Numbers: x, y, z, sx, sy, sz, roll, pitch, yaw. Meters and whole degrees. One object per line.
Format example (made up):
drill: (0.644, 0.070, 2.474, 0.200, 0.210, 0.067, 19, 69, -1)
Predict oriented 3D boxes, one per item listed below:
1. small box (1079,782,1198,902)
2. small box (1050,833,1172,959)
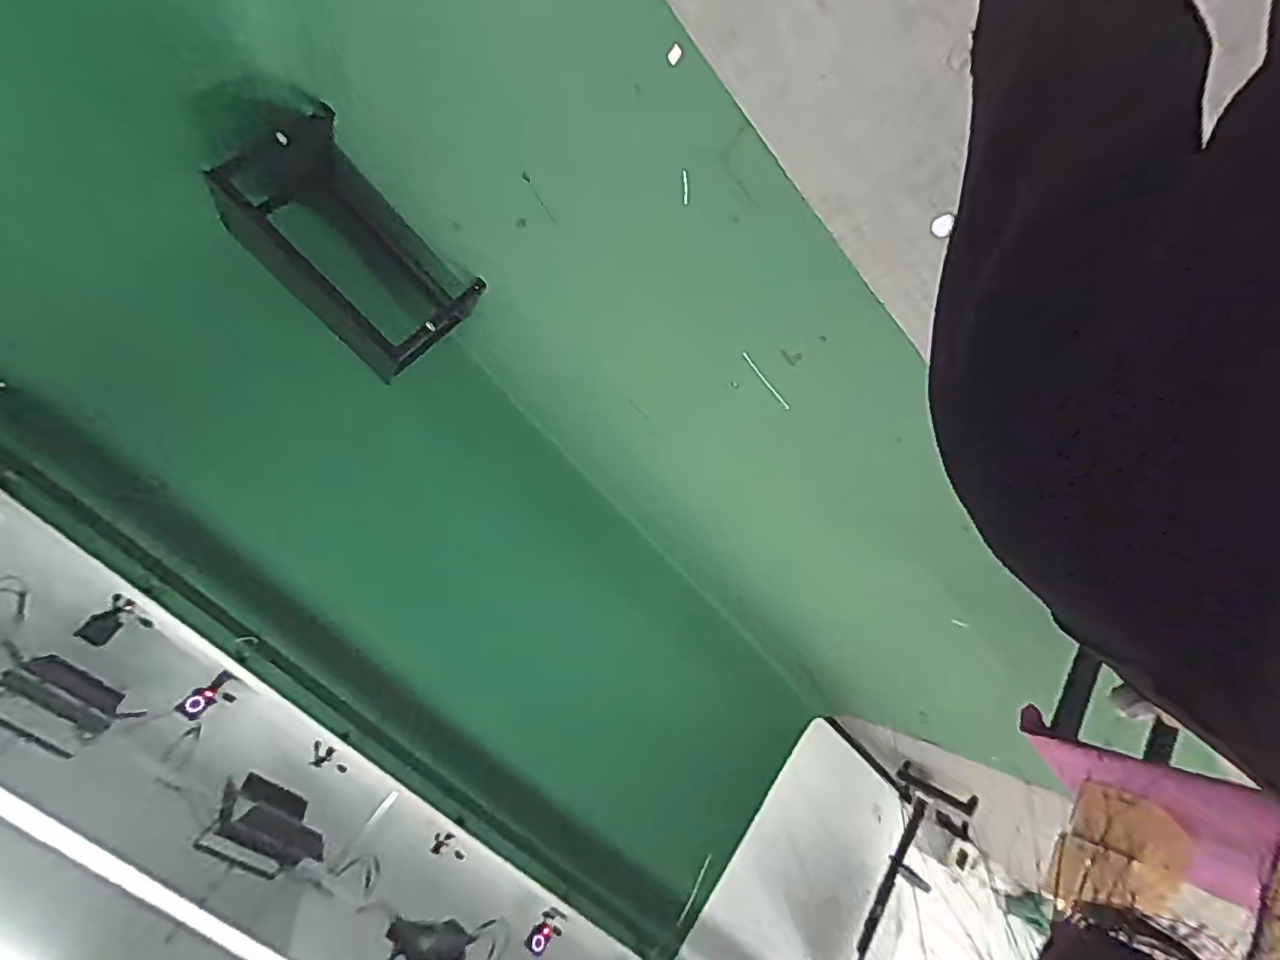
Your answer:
small box: (1.314, 0.942, 1.423, 0.179, 0.176, 0.168, 44, 157, -12)
small box: (1.201, 1.053, 1.375, 0.179, 0.176, 0.168, 44, 157, -12)
